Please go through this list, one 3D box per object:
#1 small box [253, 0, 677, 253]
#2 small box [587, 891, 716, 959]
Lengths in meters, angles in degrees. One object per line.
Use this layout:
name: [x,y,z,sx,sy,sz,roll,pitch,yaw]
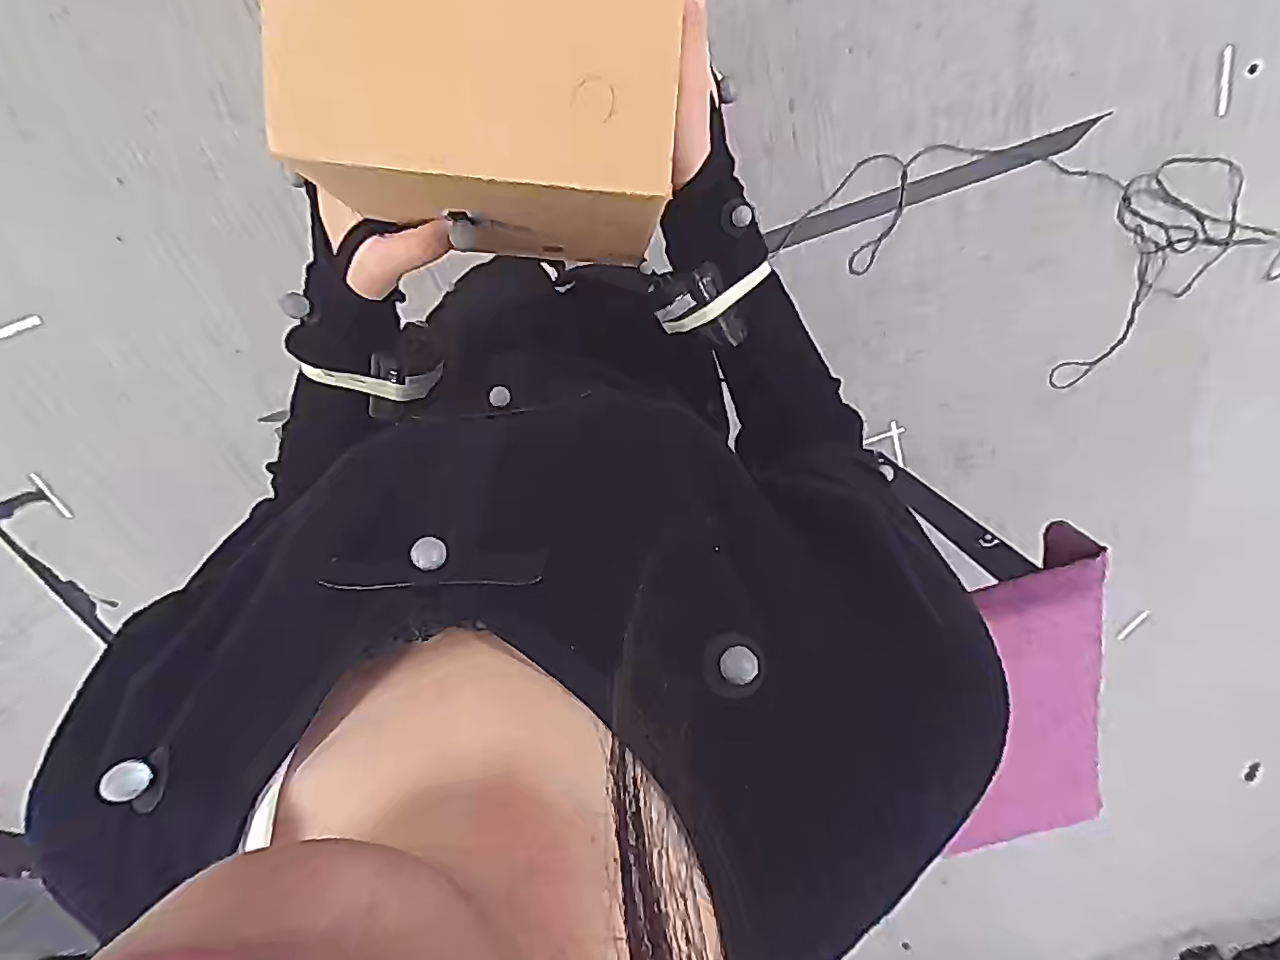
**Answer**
small box: [-0.069,-0.231,0.285,0.168,0.176,0.179,3,100,-6]
small box: [0.023,0.784,0.831,0.179,0.176,0.168,-23,113,6]
